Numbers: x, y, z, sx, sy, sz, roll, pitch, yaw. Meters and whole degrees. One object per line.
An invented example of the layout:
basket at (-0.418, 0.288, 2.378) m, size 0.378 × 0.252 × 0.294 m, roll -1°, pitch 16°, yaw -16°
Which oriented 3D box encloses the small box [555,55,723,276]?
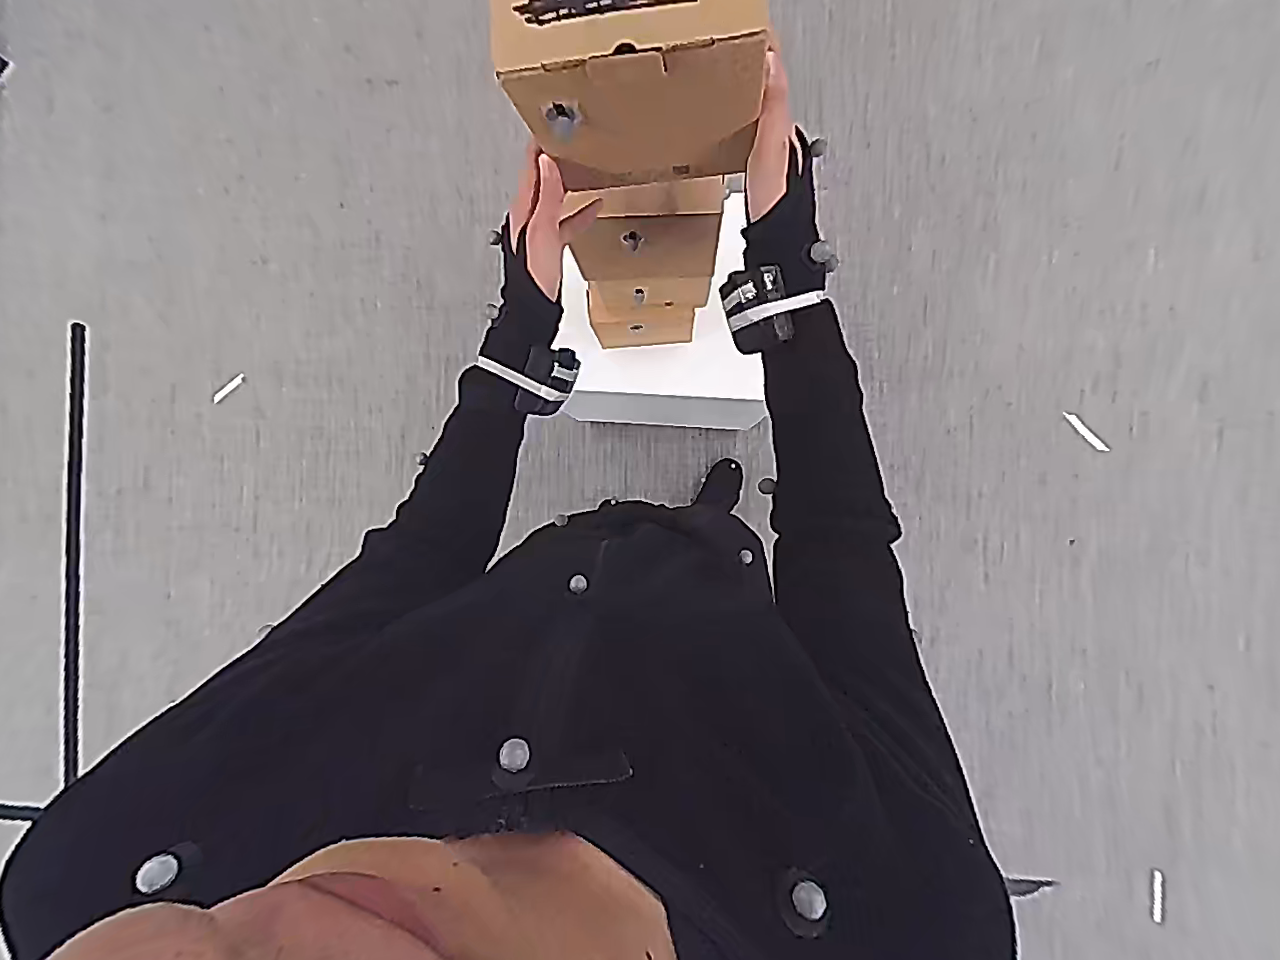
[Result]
small box at (0.004, -0.352, 0.637) m, size 0.179 × 0.176 × 0.168 m, roll 0°, pitch 89°, yaw 4°

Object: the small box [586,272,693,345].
small box at (0.002, -0.345, 0.966) m, size 0.179 × 0.176 × 0.168 m, roll -4°, pitch 89°, yaw 3°

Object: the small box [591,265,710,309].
small box at (0.017, -0.364, 0.802) m, size 0.168 × 0.176 × 0.179 m, roll -3°, pitch 88°, yaw 3°
